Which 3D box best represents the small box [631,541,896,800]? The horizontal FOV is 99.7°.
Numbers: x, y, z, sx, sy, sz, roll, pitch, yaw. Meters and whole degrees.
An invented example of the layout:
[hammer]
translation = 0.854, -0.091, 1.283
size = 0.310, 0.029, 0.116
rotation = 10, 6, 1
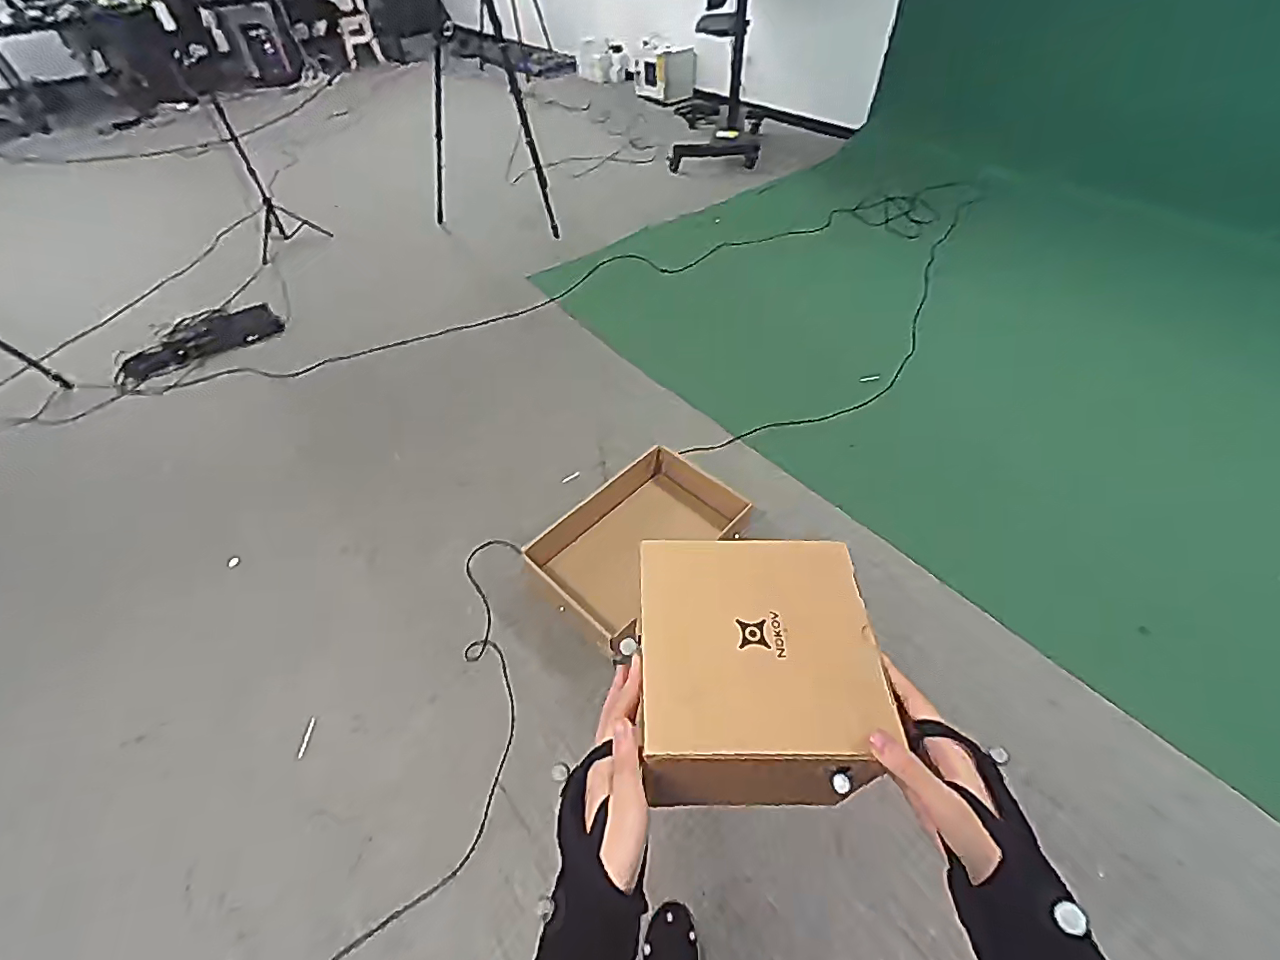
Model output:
[small box]
translation = 0.080, 0.167, 0.463
size = 0.179, 0.176, 0.168
rotation = 0, 51, -2
